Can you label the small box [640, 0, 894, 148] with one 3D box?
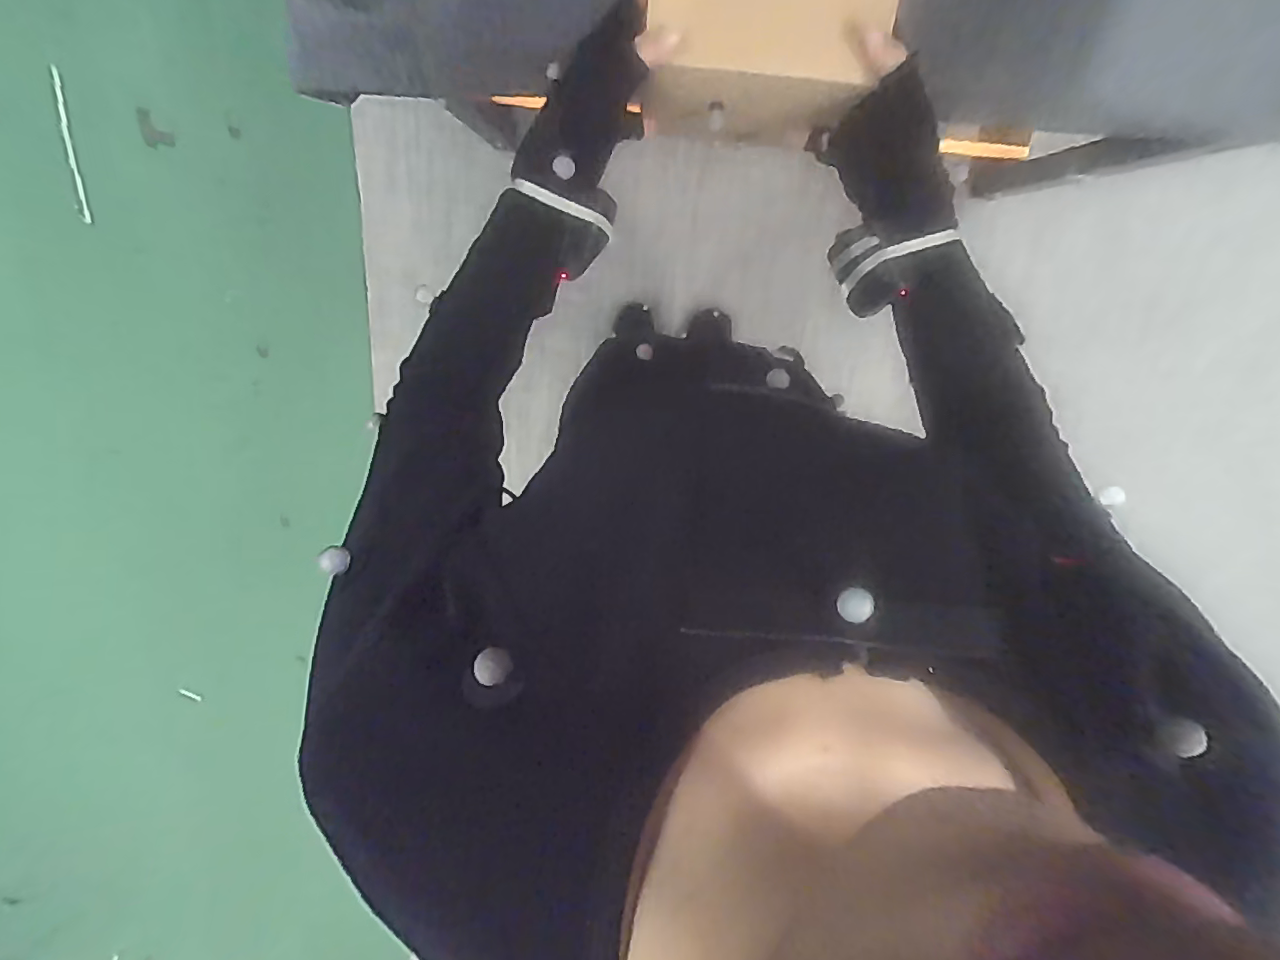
[{"bbox_3d":[0.090,-0.380,0.419,0.168,0.176,0.179,4,106,-1],"label":"small box"}]
